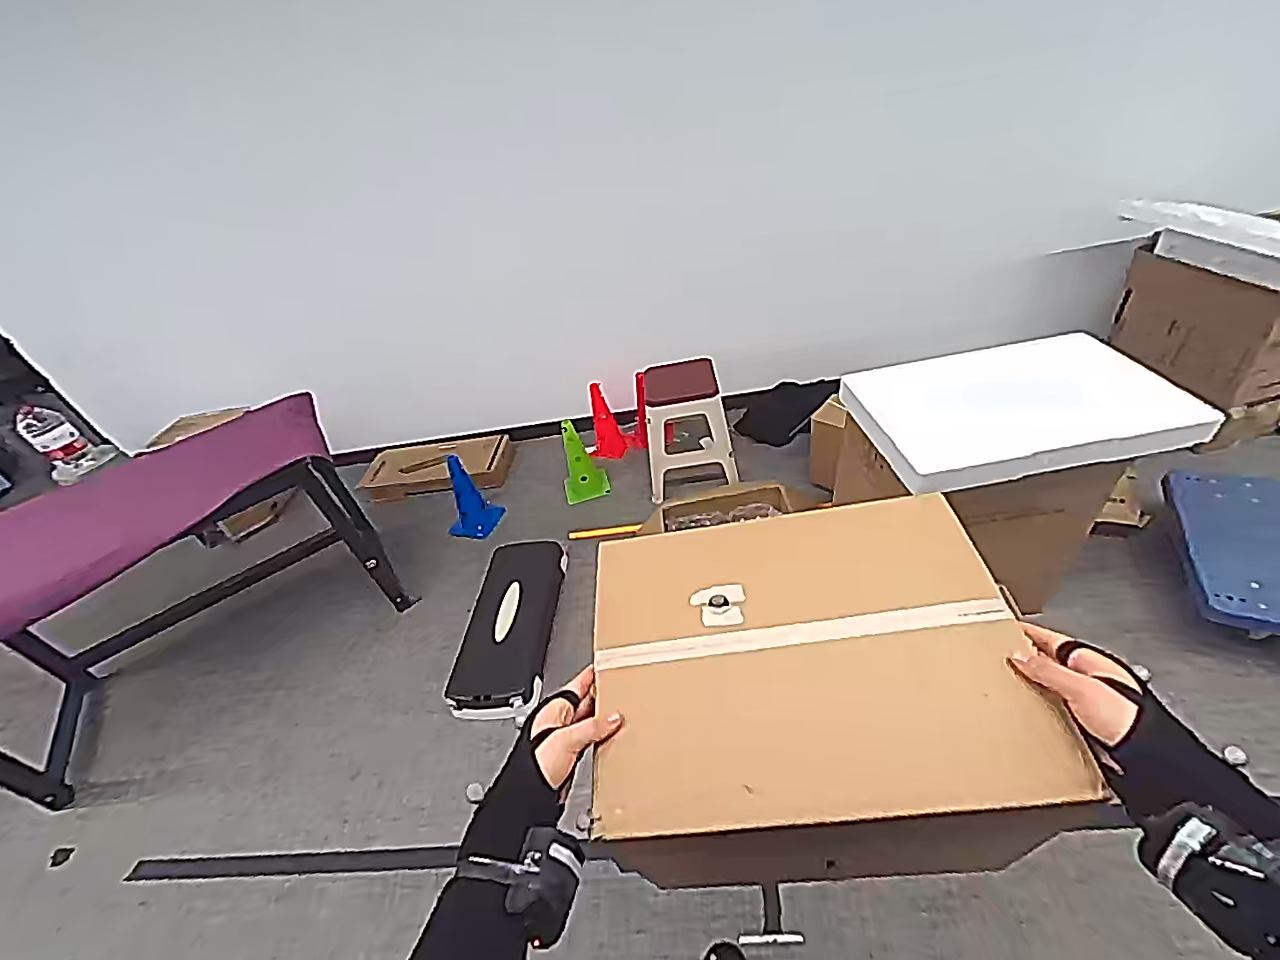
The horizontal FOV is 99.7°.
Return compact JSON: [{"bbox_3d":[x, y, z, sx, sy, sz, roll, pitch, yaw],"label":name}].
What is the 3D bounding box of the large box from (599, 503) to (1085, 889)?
[{"bbox_3d":[0.185,0.270,0.653,0.408,0.320,0.320,-10,44,7],"label":"large box"}]
